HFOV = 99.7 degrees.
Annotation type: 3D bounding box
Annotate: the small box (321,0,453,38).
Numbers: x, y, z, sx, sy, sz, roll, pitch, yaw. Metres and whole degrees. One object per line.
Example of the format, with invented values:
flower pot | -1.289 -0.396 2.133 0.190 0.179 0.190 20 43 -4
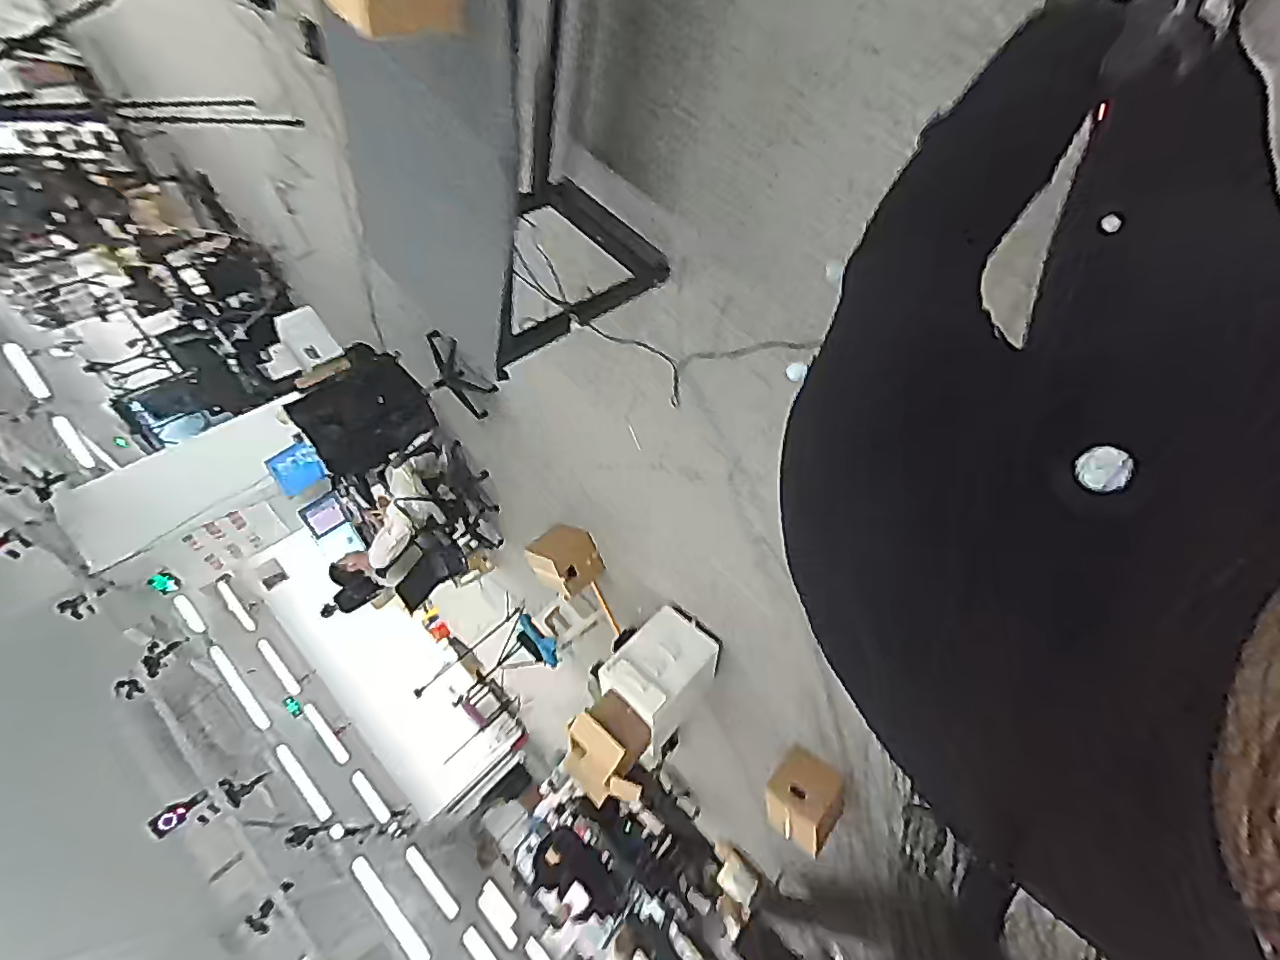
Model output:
small box | -0.384 -0.787 0.777 0.168 0.176 0.179 46 148 11
